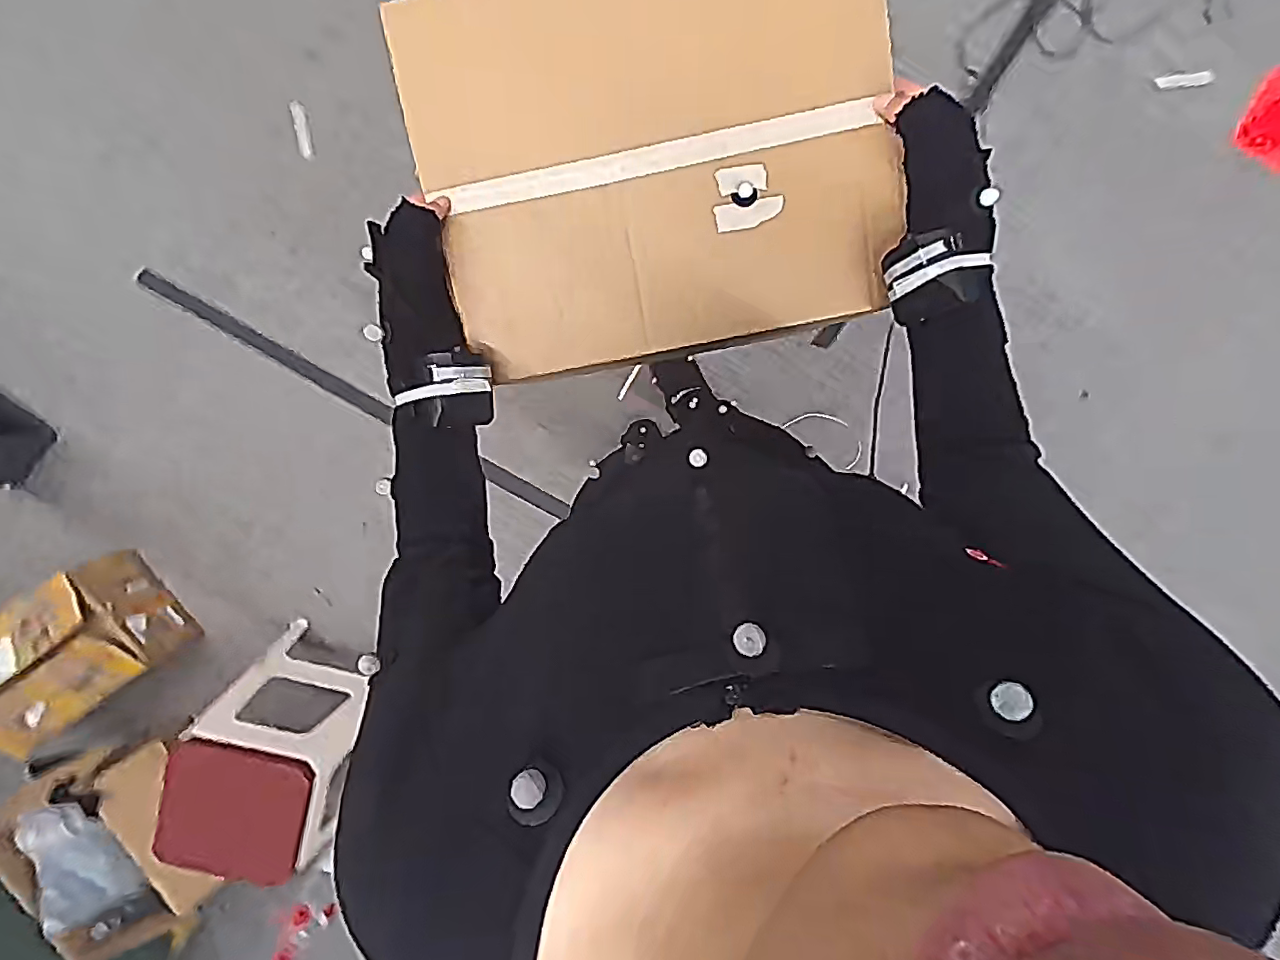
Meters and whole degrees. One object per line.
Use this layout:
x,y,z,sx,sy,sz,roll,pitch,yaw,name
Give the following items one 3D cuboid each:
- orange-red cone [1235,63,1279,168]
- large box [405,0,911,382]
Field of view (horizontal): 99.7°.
1.613,-0.885,1.181,0.198,0.360,0.199,27,96,-5,orange-red cone
0.022,-0.300,0.613,0.408,0.320,0.320,-10,101,1,large box
